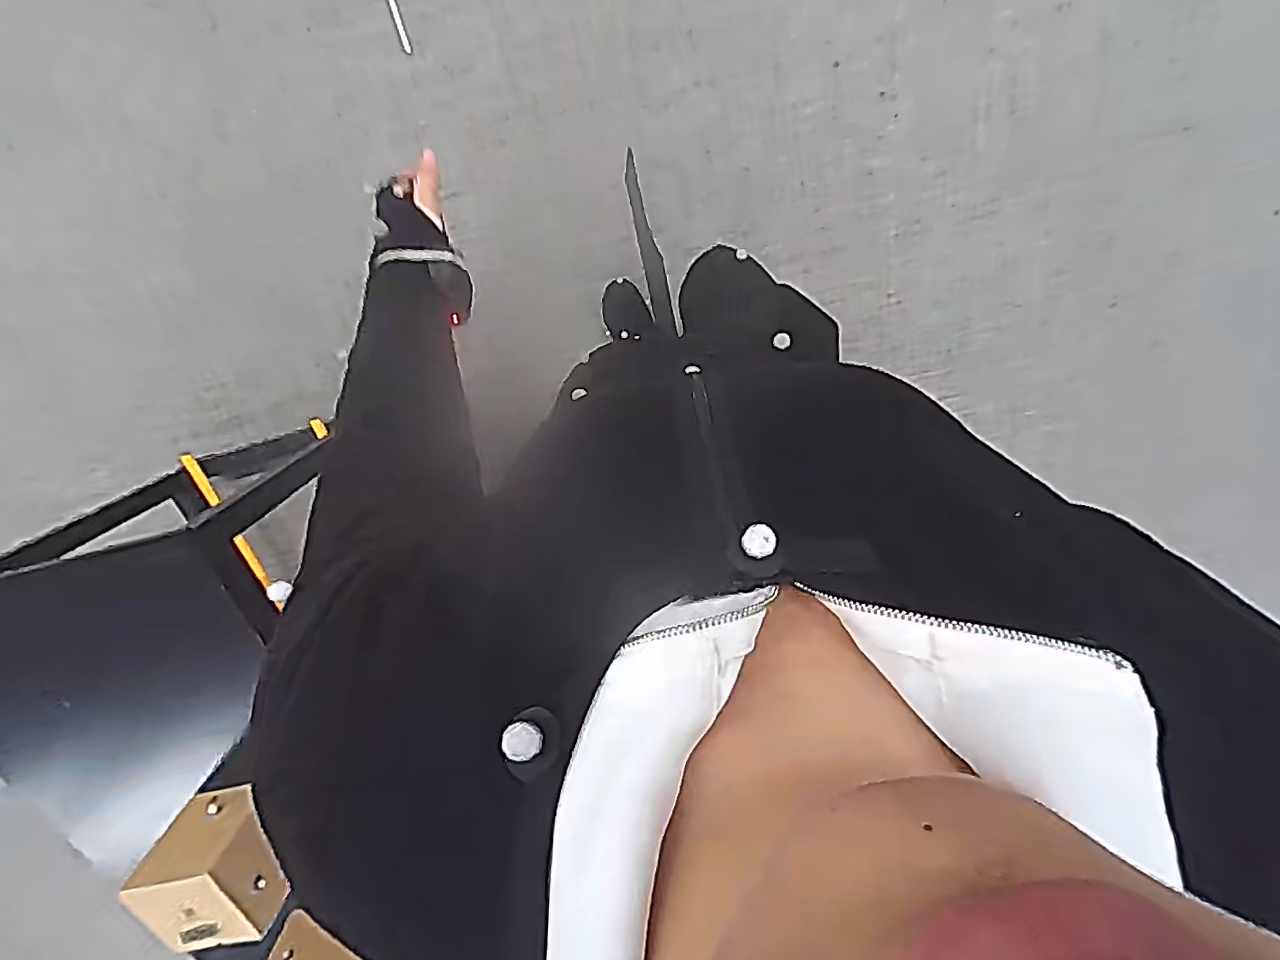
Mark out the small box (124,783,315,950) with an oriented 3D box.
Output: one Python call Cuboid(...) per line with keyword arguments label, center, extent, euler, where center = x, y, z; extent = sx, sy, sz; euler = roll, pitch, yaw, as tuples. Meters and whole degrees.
Cuboid(label="small box", center=(-0.722, 0.676, 0.956), extent=(0.168, 0.176, 0.179), euler=(-13, 112, 5))
